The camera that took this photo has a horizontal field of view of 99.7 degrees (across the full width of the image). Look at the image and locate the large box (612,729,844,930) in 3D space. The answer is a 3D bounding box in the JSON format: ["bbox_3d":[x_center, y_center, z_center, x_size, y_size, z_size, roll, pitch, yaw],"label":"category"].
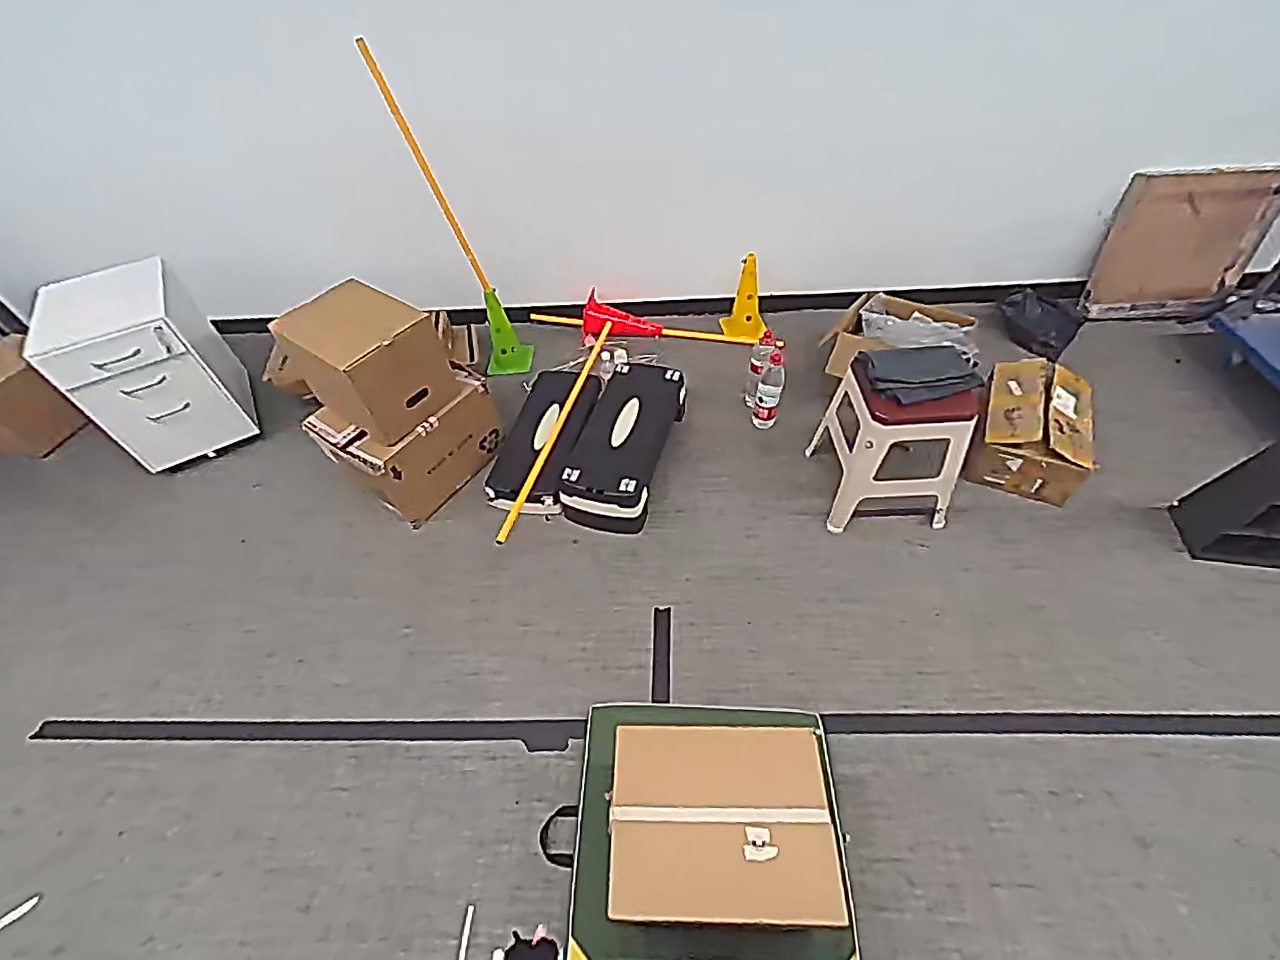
[{"bbox_3d":[0.153,0.731,1.126,0.408,0.320,0.320,-1,49,2],"label":"large box"}]
